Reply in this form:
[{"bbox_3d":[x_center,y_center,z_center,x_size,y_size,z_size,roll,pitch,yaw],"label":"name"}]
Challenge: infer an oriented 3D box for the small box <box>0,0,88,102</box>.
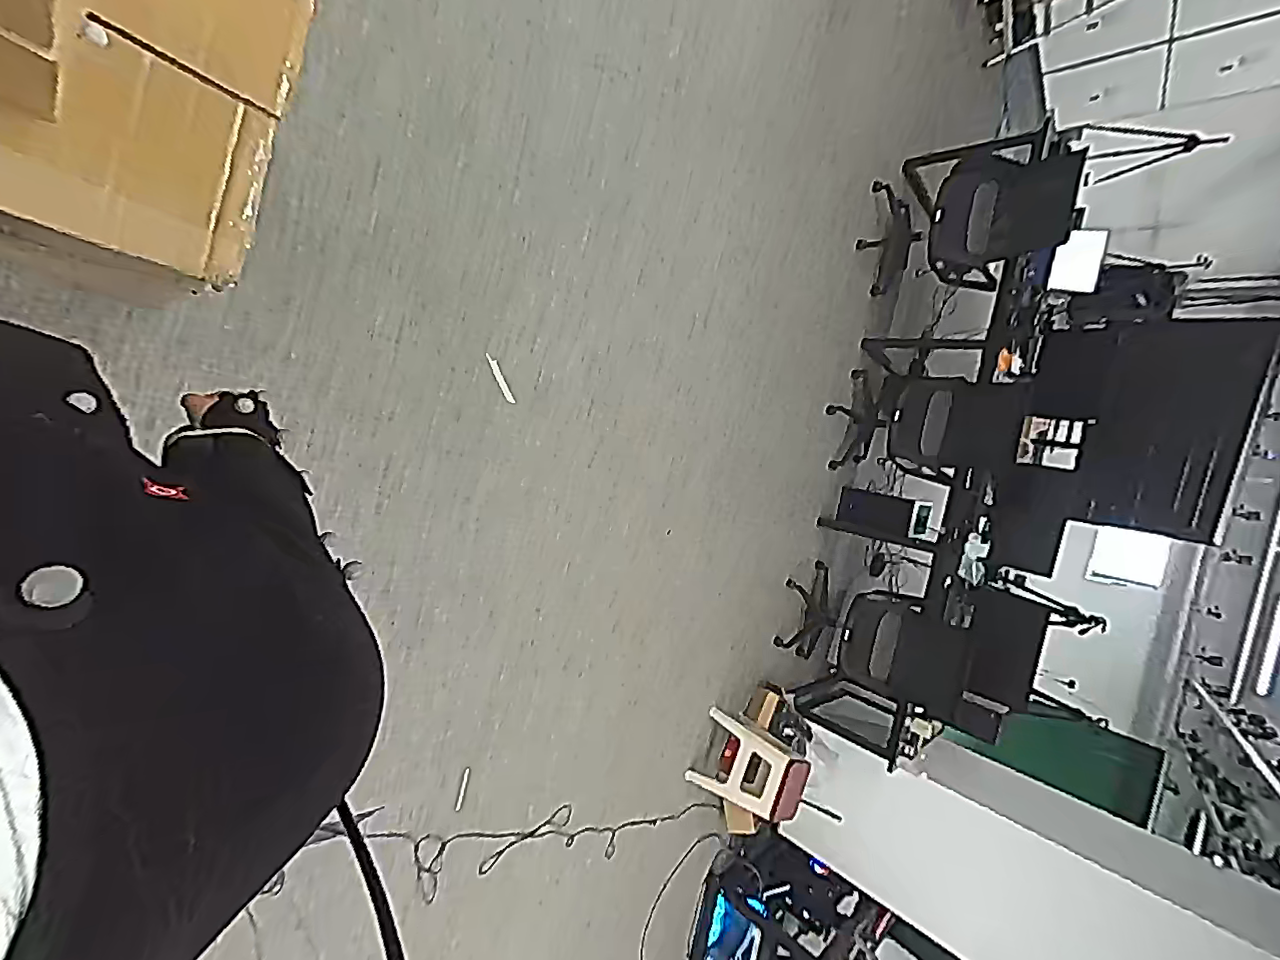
[{"bbox_3d":[-0.522,-0.416,0.386,0.179,0.176,0.168,15,90,-49],"label":"small box"}]
